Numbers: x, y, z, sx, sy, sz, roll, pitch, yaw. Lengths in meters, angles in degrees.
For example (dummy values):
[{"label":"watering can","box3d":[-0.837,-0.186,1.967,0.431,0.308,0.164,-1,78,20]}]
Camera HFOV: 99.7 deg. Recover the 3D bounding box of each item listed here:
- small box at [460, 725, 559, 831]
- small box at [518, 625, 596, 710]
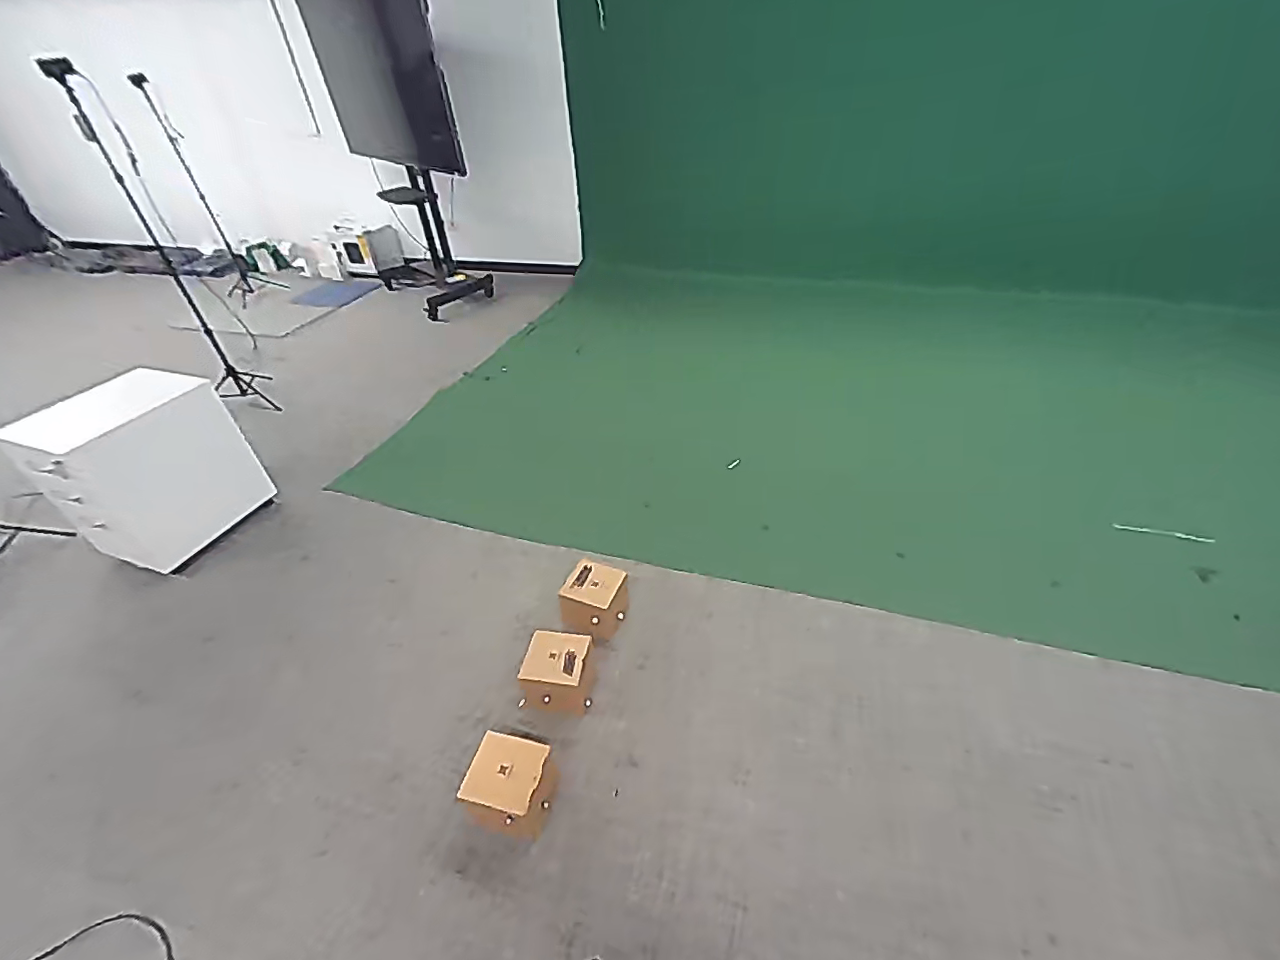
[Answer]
[{"label":"small box","box3d":[-0.318,0.747,1.352,0.179,0.176,0.168,7,40,12]},{"label":"small box","box3d":[-0.235,0.553,1.590,0.179,0.176,0.168,3,38,10]}]
